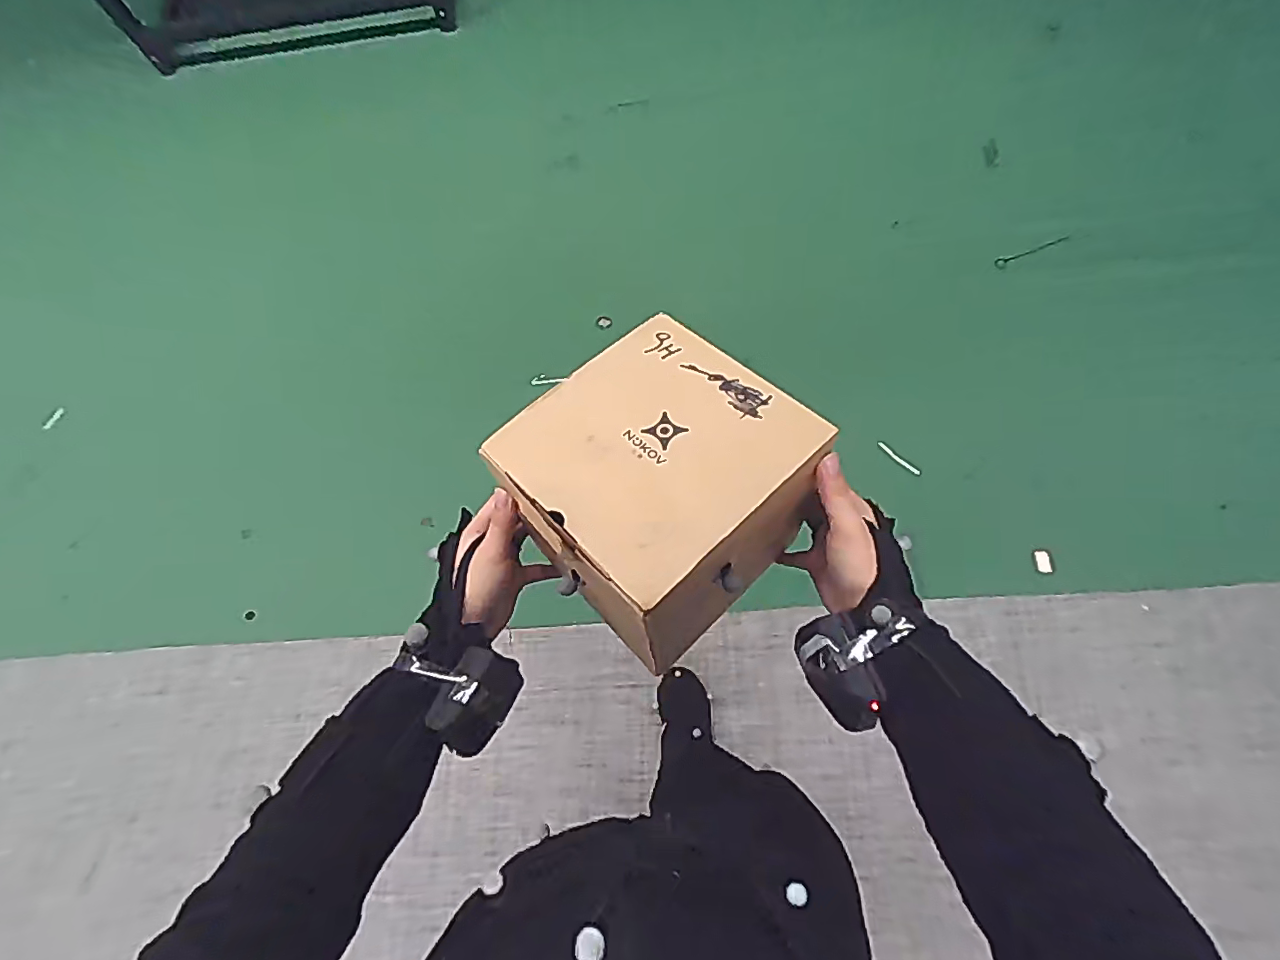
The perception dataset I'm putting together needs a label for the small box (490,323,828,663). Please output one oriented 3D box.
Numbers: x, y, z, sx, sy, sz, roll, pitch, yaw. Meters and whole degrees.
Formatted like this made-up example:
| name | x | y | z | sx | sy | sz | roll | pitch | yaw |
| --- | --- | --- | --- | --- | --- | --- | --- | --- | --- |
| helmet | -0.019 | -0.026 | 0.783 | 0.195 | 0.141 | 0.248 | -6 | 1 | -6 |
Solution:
| name | x | y | z | sx | sy | sz | roll | pitch | yaw |
| --- | --- | --- | --- | --- | --- | --- | --- | --- | --- |
| small box | 0.019 | 0.018 | 0.433 | 0.179 | 0.176 | 0.168 | -41 | 64 | -17 |
